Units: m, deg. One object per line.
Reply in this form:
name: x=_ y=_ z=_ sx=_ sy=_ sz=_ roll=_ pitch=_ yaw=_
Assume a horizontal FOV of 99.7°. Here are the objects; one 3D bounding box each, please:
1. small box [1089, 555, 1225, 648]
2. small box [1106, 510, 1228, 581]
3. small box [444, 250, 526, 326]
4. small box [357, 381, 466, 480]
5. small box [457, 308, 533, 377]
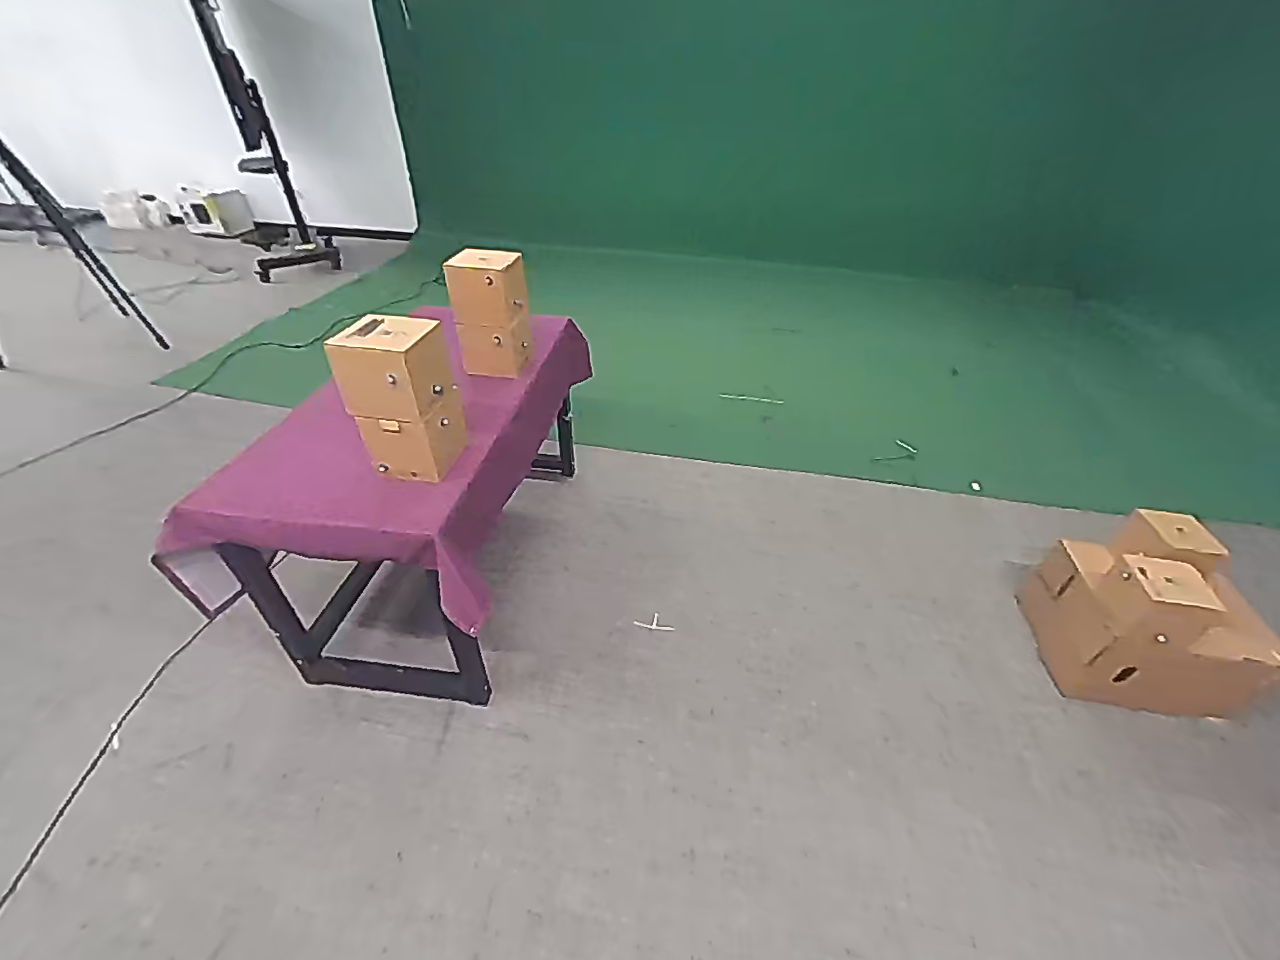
small box: x=1.390 y=0.333 z=1.469 sx=0.179 sy=0.176 sz=0.168 roll=10 pitch=40 yaw=8
small box: x=1.576 y=0.217 z=1.632 sx=0.168 sy=0.176 sz=0.179 roll=8 pitch=38 yaw=4
small box: x=-0.451 y=-0.569 z=1.607 sx=0.179 sy=0.176 sz=0.168 roll=8 pitch=39 yaw=6
small box: x=-0.535 y=-0.118 z=1.297 sx=0.168 sy=0.176 sz=0.179 roll=6 pitch=38 yaw=6
small box: x=-0.448 y=-0.437 z=1.703 sx=0.179 sy=0.176 sz=0.168 roll=7 pitch=38 yaw=7
